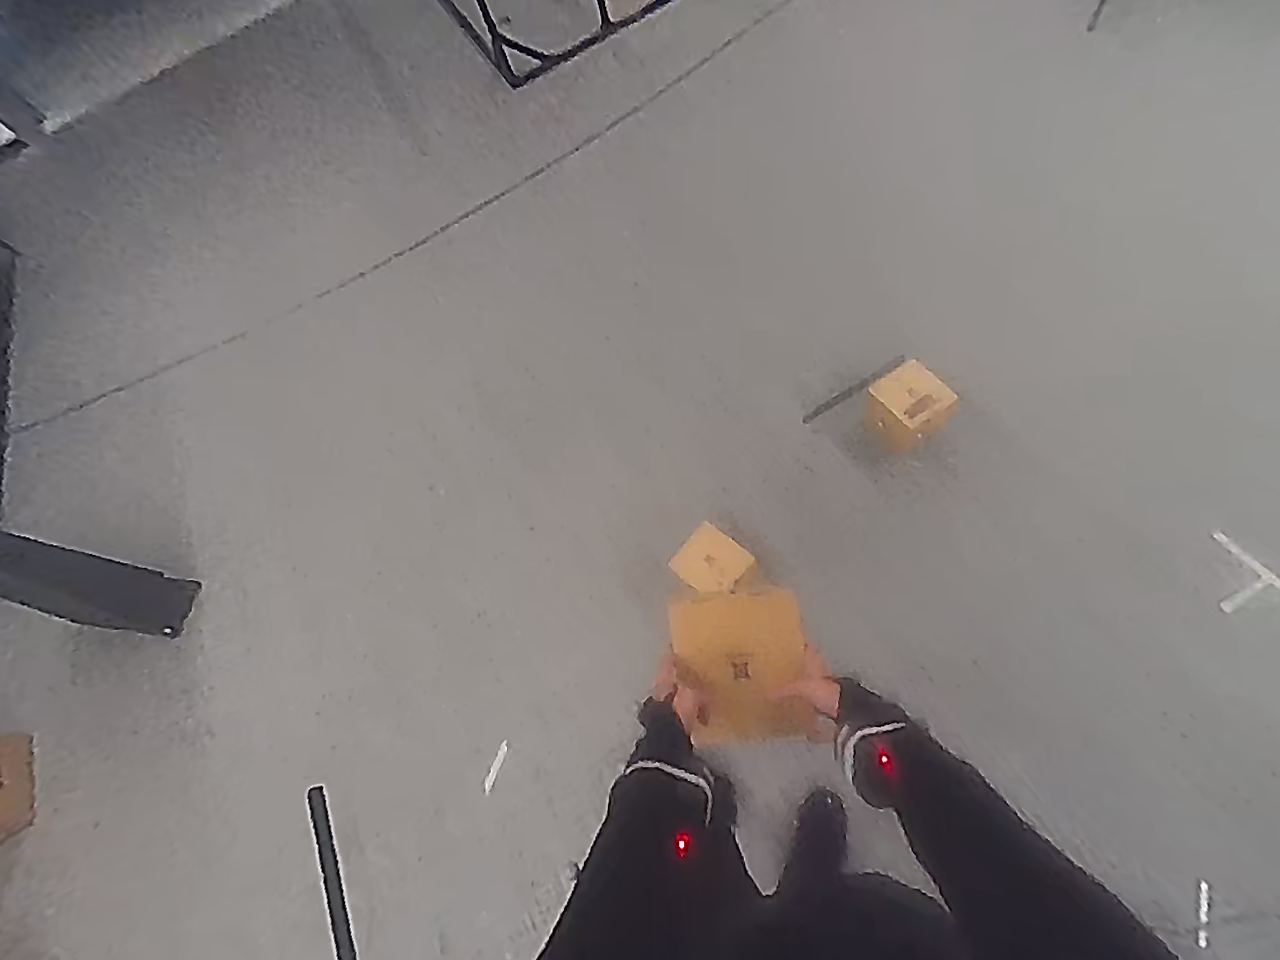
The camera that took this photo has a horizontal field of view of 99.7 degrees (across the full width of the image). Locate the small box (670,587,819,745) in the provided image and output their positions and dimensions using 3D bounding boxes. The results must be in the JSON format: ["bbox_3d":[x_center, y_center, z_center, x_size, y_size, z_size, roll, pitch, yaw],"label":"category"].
[{"bbox_3d":[0.135,0.245,0.750,0.168,0.176,0.179,-7,79,3],"label":"small box"}]

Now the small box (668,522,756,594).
[{"bbox_3d":[0.205,0.252,1.499,0.179,0.176,0.168,37,79,25],"label":"small box"}]
